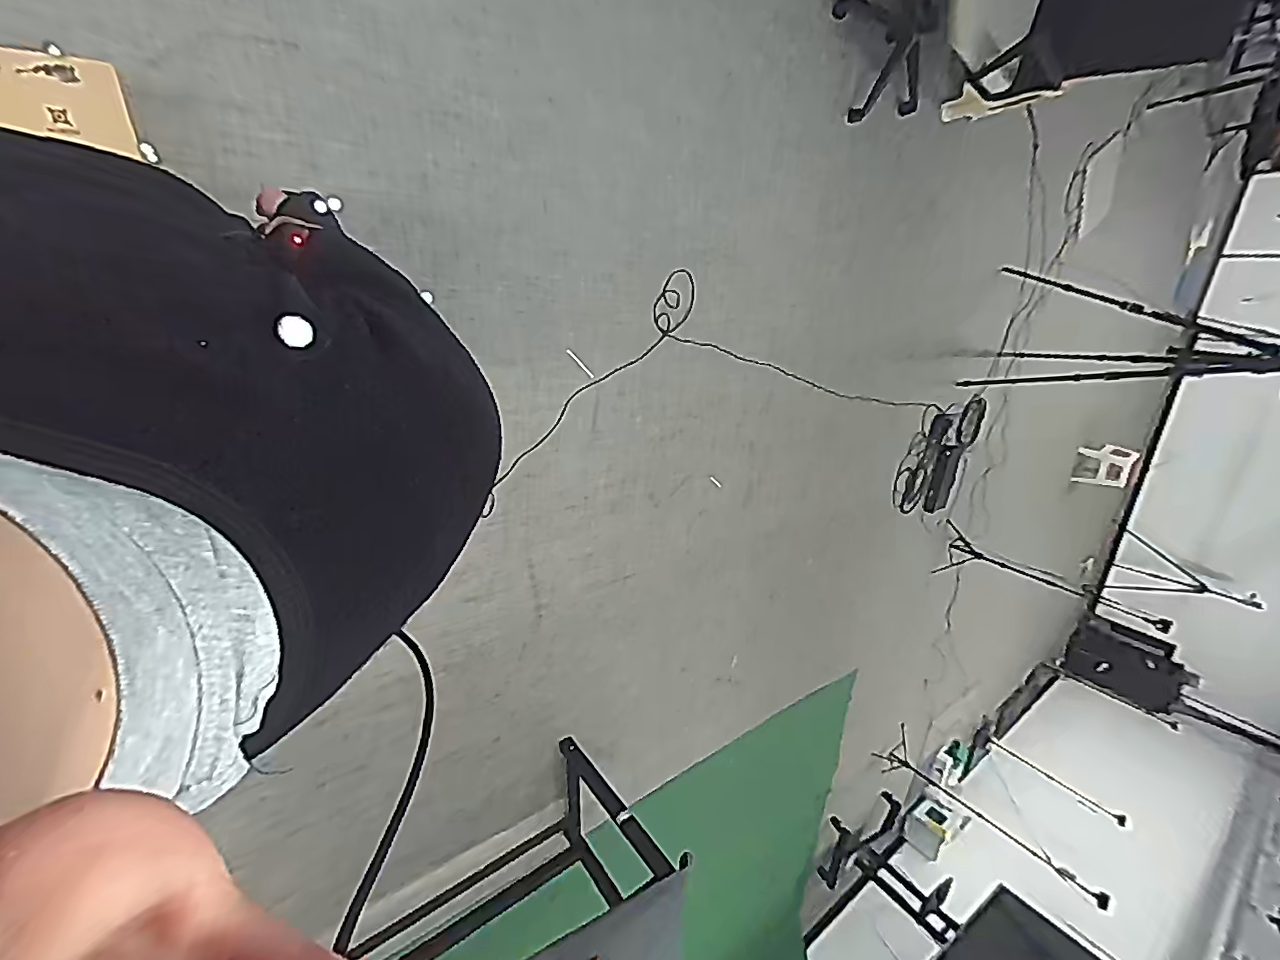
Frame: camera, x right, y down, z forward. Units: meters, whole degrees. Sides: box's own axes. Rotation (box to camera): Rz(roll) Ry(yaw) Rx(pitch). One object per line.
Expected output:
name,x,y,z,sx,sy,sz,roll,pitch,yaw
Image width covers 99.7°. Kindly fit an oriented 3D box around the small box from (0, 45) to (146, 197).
small box,-0.908,-0.547,0.843,0.168,0.176,0.179,-17,118,-34
